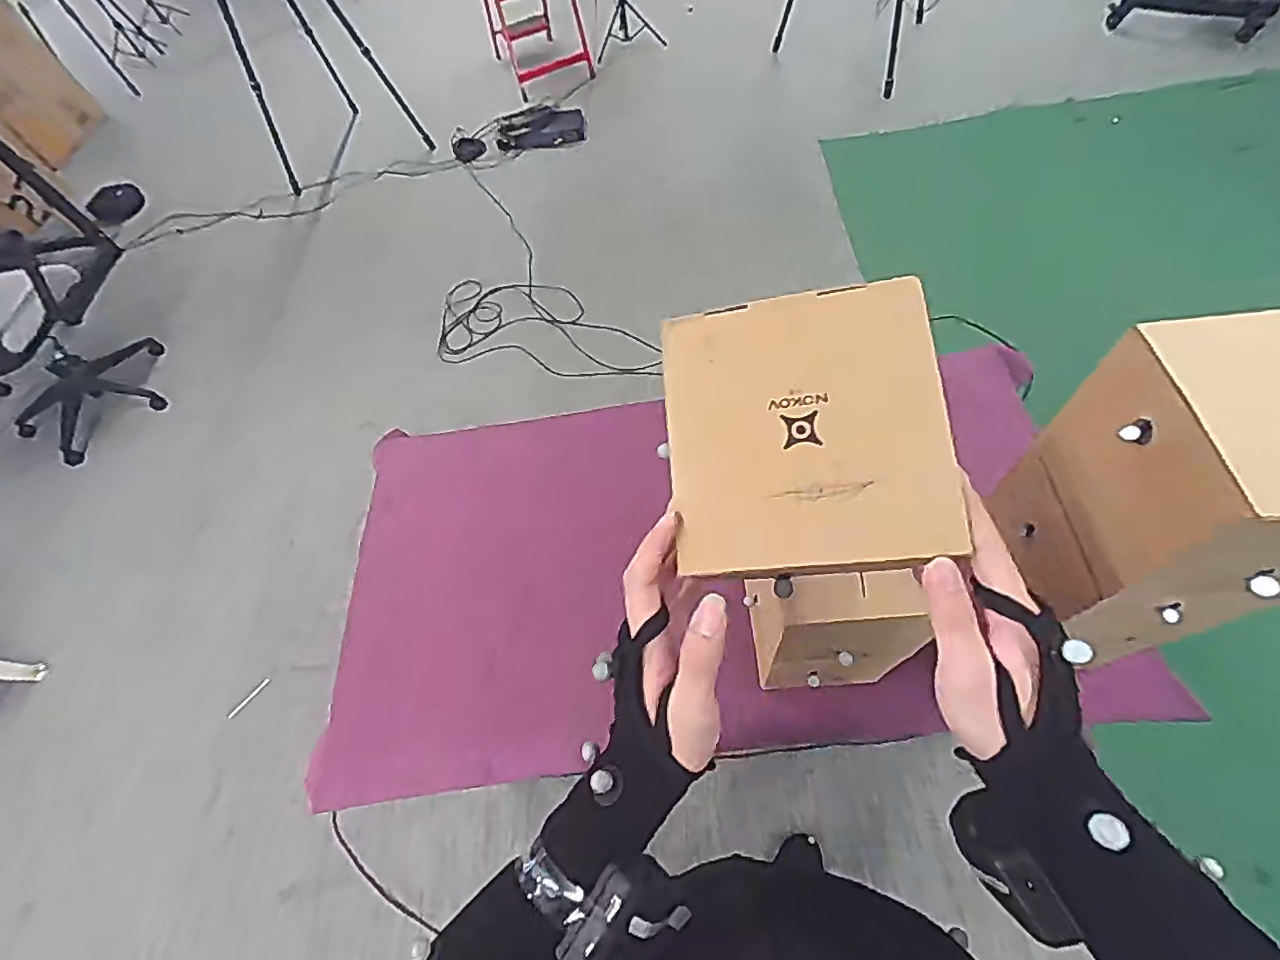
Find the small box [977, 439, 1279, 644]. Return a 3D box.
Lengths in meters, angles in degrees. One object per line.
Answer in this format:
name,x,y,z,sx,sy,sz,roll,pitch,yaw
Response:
small box,0.500,0.067,0.584,0.168,0.176,0.179,-5,59,8

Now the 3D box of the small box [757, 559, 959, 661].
small box,0.222,0.095,0.616,0.168,0.176,0.179,-6,59,6

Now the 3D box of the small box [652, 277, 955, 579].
small box,0.108,-0.019,0.407,0.168,0.176,0.179,-6,78,13

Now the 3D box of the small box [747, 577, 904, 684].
small box,0.243,0.180,0.755,0.168,0.176,0.179,-6,58,6

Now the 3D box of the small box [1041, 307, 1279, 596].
small box,0.478,-0.017,0.444,0.168,0.176,0.179,-4,60,8
